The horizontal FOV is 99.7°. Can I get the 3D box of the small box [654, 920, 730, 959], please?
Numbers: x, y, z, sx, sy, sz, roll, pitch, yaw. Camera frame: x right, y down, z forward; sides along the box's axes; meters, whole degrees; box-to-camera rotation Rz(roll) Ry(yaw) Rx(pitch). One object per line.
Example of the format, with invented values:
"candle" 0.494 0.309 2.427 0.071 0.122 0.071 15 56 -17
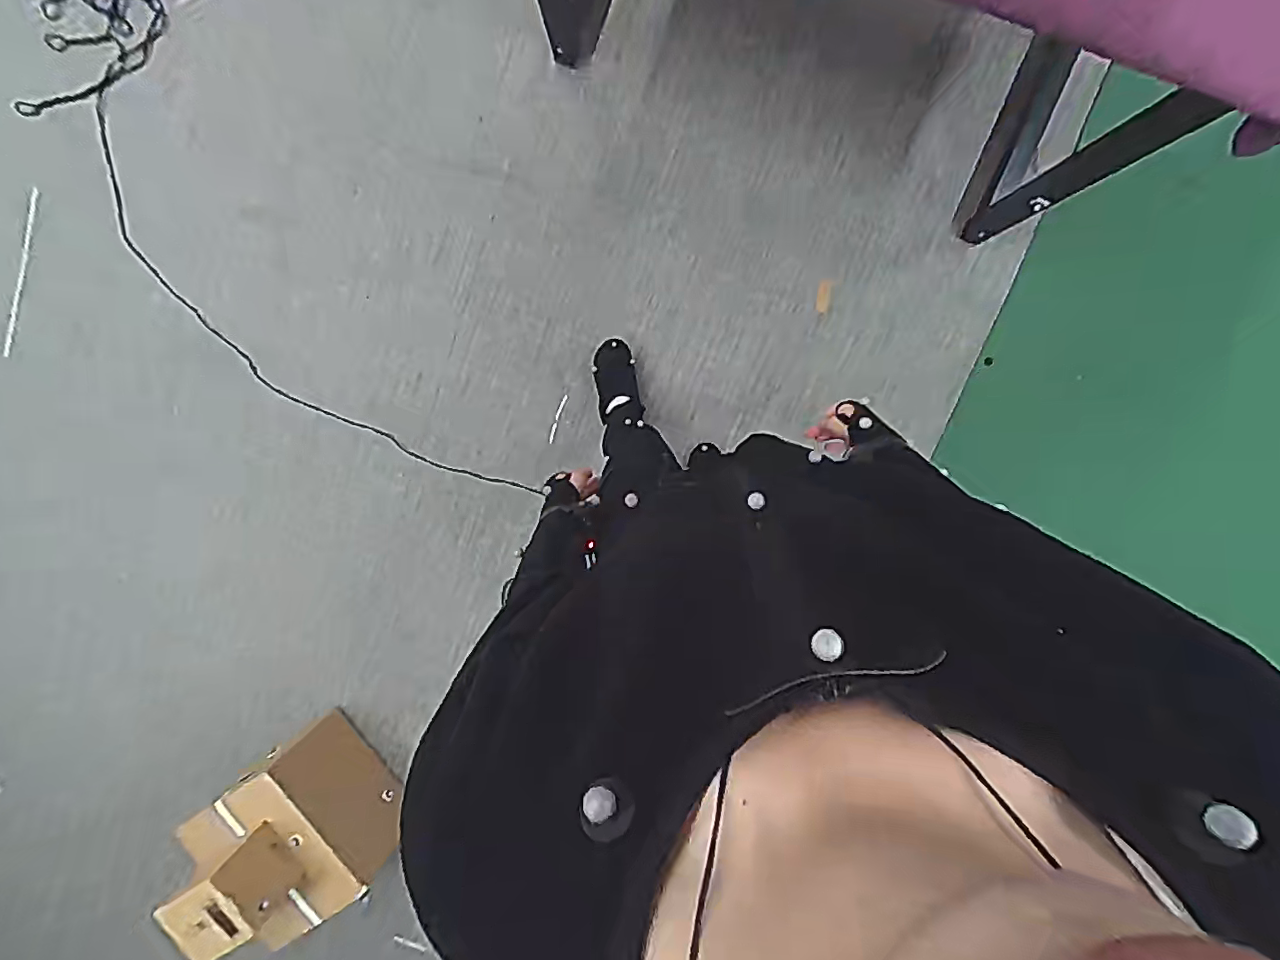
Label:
"small box" 0.115 1.159 1.233 0.168 0.176 0.179 8 97 1
